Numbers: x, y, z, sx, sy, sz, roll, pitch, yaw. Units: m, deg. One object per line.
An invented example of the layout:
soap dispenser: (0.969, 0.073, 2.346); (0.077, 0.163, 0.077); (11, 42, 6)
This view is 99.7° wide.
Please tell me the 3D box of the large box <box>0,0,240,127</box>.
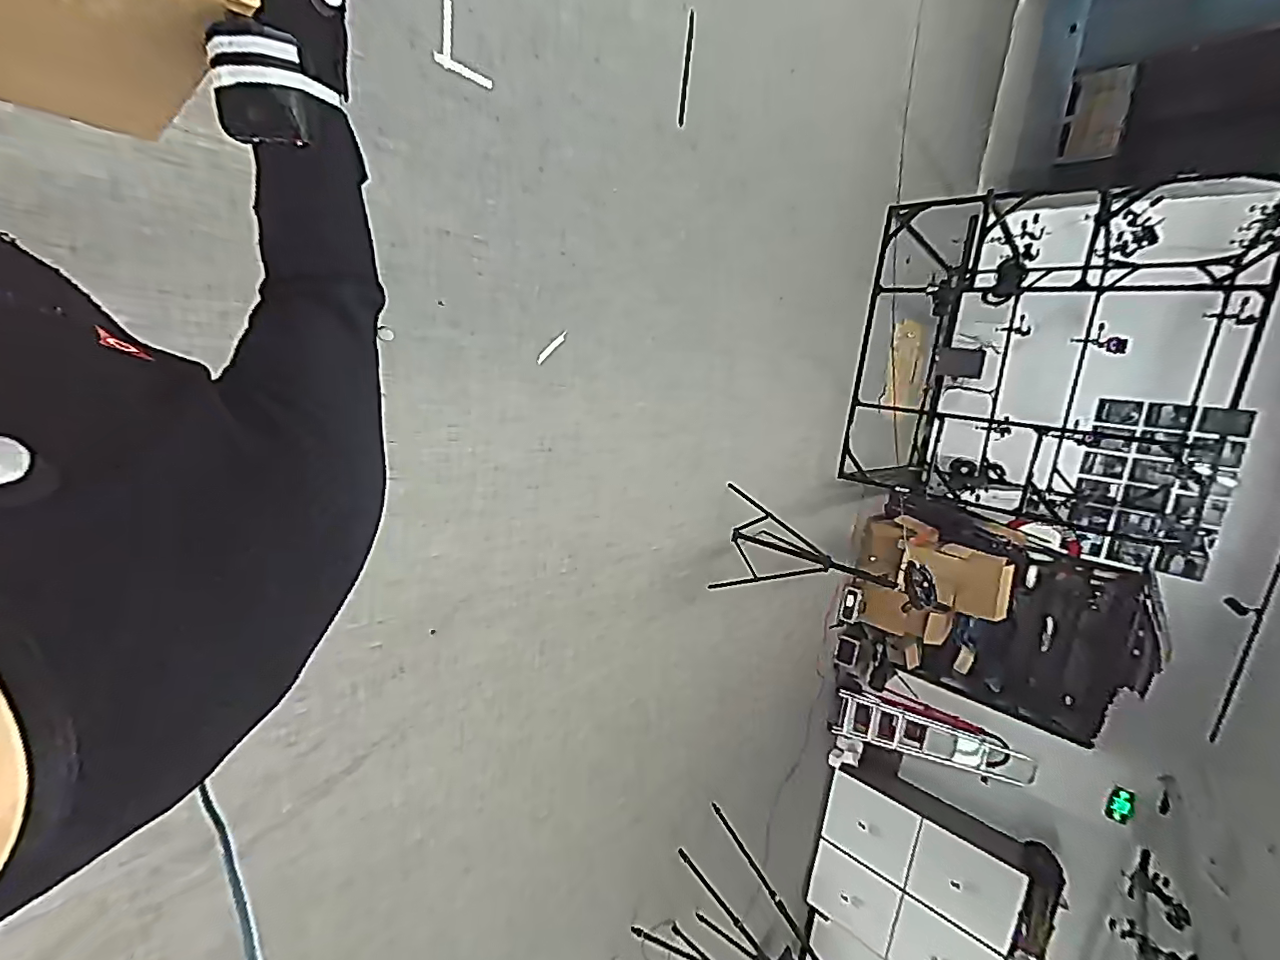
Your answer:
large box: (-0.493, -0.453, 0.268); (0.408, 0.320, 0.320); (-10, 105, -50)
